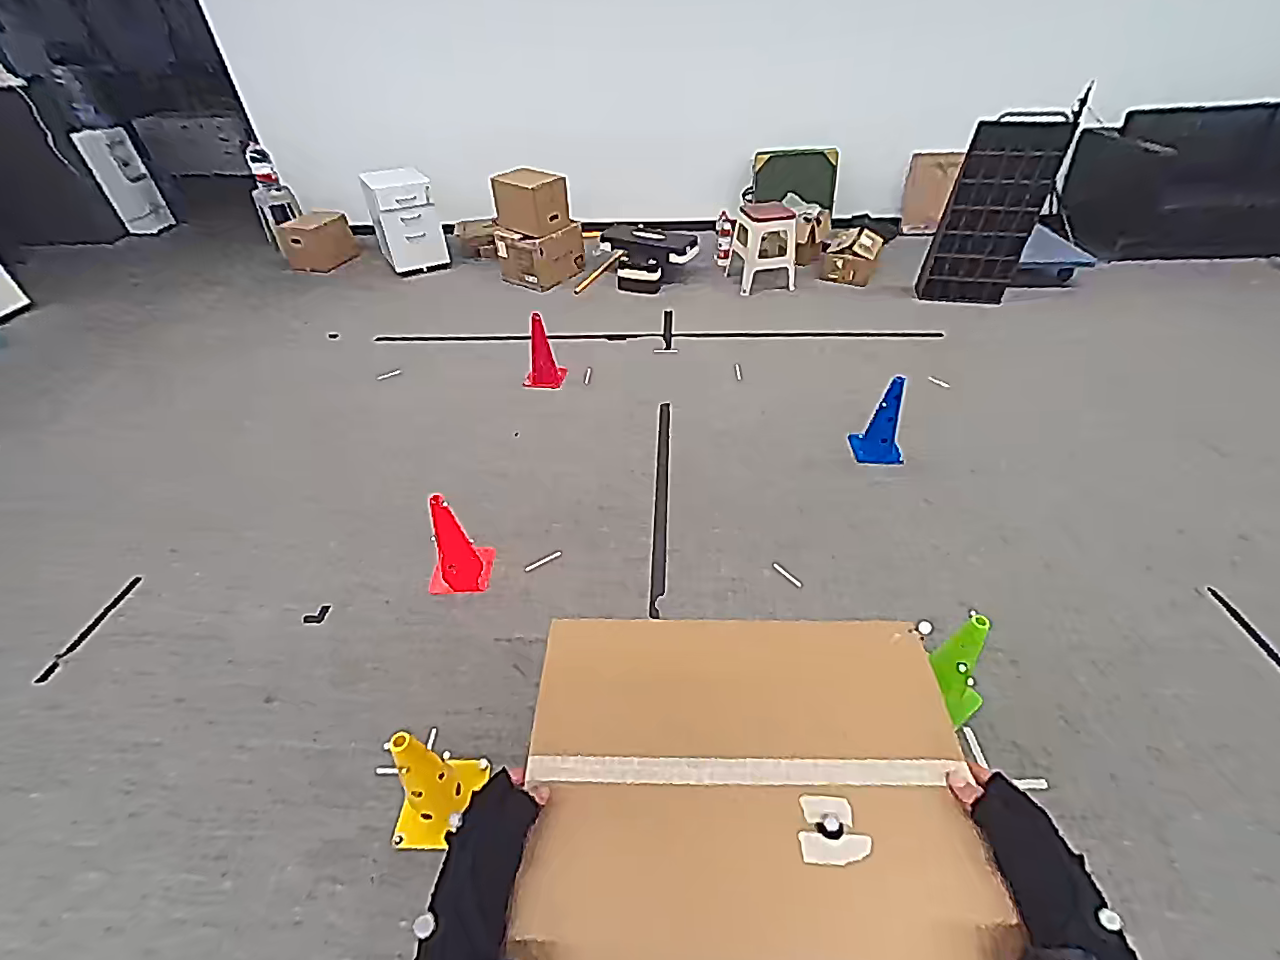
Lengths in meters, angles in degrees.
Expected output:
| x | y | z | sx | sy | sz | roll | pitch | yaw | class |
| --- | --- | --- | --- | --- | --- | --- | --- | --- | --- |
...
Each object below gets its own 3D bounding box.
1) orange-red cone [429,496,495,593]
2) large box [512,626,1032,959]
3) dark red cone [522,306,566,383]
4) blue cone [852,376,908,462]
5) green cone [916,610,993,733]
| x | y | z | sx | sy | sz | roll | pitch | yaw | class |
| --- | --- | --- | --- | --- | --- | --- | --- | --- | --- |
| -0.630 | 0.194 | 1.798 | 0.198 | 0.360 | 0.199 | -2 | 43 | 2 | orange-red cone |
| 0.102 | 0.379 | 0.608 | 0.408 | 0.320 | 0.320 | 0 | 46 | 2 | large box |
| -0.506 | -0.689 | 2.745 | 0.201 | 0.394 | 0.202 | 5 | 42 | 6 | dark red cone |
| 1.036 | -0.263 | 2.264 | 0.192 | 0.380 | 0.193 | 3 | 42 | 4 | blue cone |
| 0.836 | 0.470 | 1.426 | 0.202 | 0.368 | 0.200 | -25 | 47 | -26 | green cone |
